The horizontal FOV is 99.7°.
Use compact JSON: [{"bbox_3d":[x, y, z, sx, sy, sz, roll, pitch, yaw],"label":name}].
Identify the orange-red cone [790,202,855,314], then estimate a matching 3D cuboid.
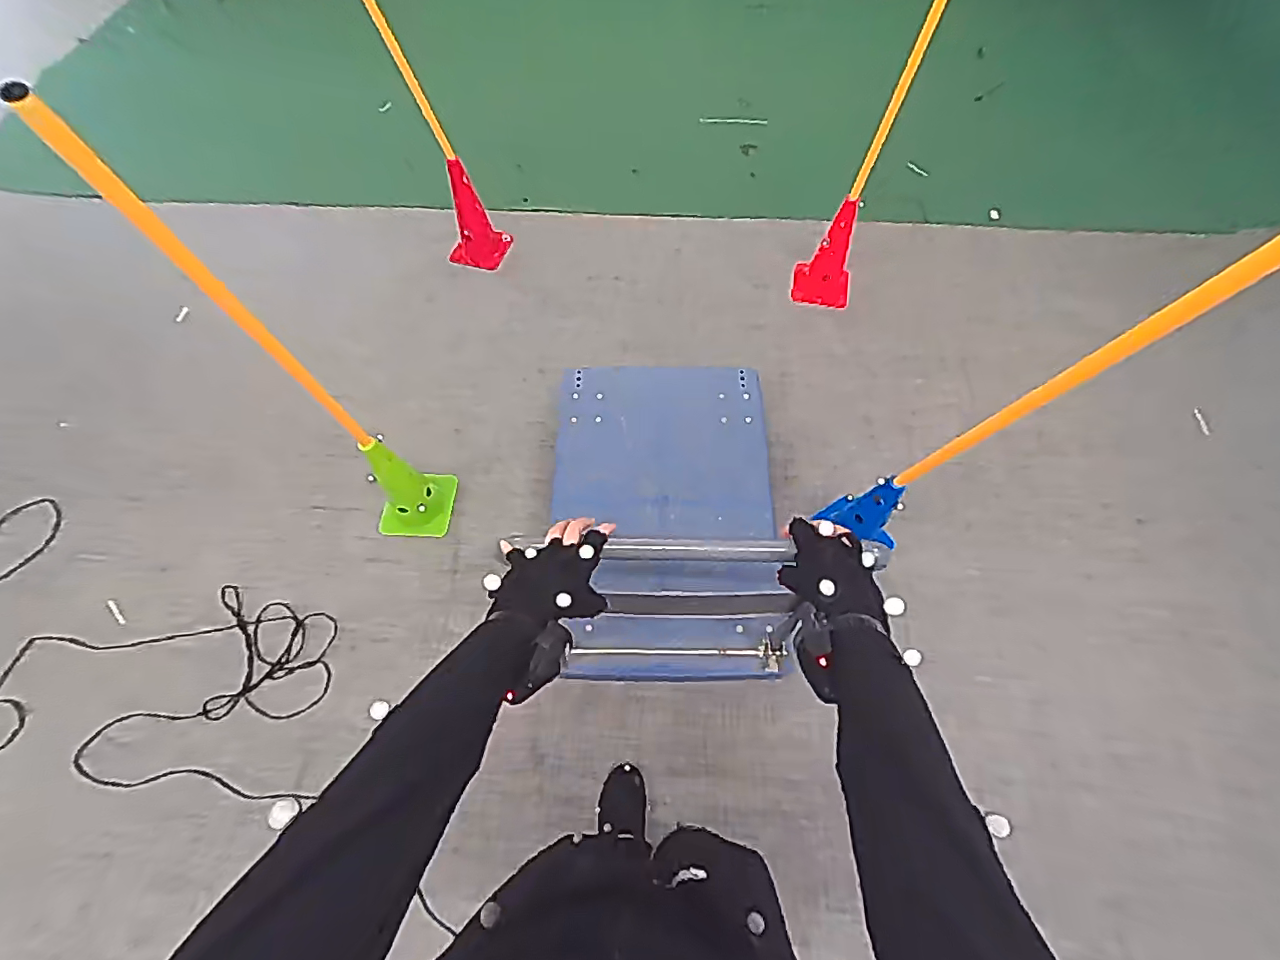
[{"bbox_3d":[0.656,-0.771,1.840,0.198,0.360,0.199,12,64,7],"label":"orange-red cone"}]
